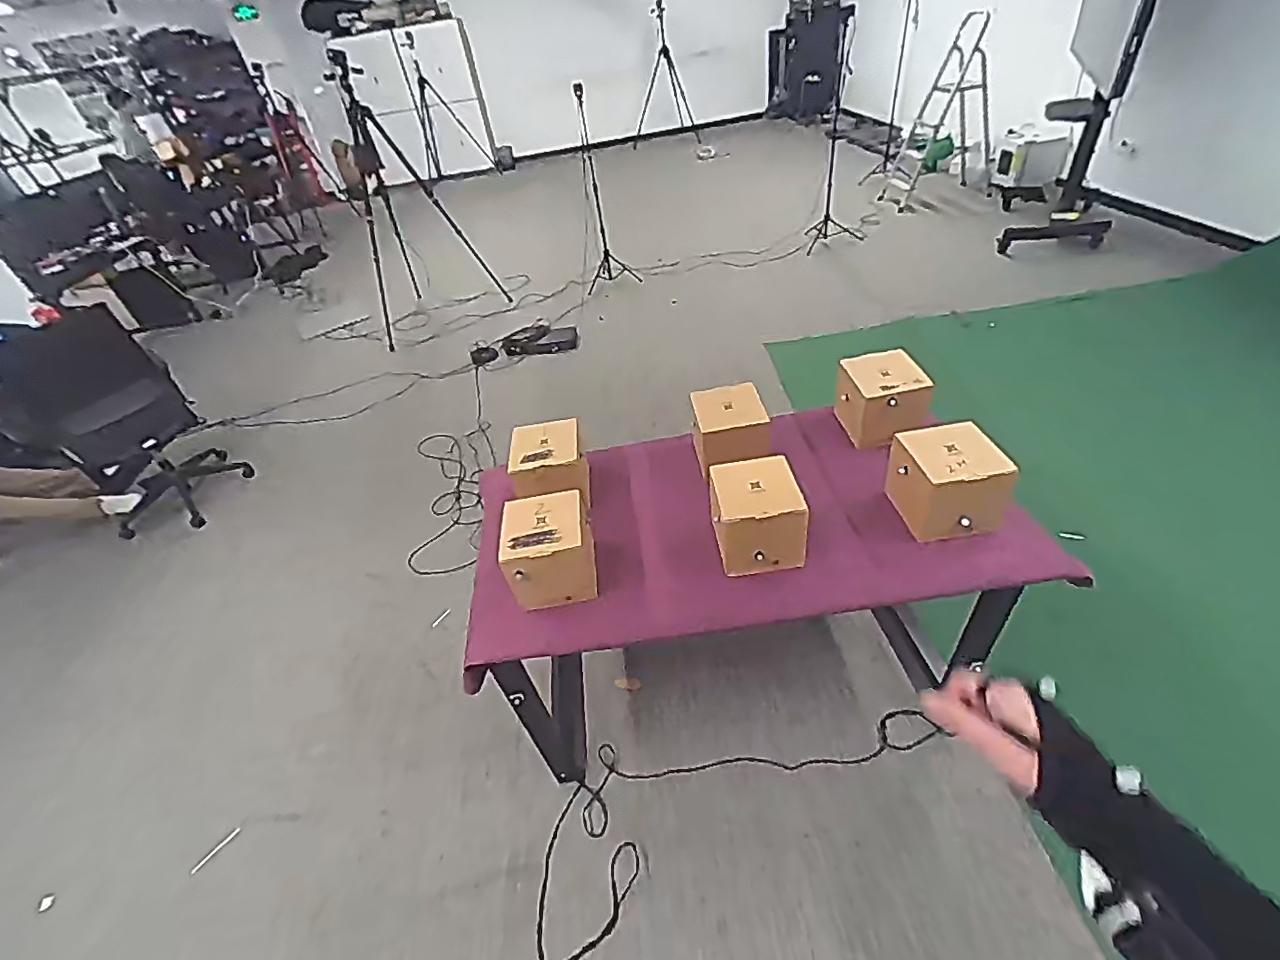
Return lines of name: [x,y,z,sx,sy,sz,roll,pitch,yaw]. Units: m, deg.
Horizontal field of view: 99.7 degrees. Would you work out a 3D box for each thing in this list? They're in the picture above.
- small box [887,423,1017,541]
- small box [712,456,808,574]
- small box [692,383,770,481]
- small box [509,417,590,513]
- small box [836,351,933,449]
small box: [0.646,0.004,1.148,0.168,0.176,0.179,-9,40,3]
small box: [0.248,0.075,1.155,0.168,0.176,0.179,-8,40,2]
small box: [0.228,-0.122,1.382,0.168,0.176,0.179,-9,43,2]
small box: [-0.221,-0.031,1.364,0.168,0.176,0.179,-9,42,1]
small box: [0.617,-0.206,1.390,0.168,0.176,0.179,-11,42,2]
